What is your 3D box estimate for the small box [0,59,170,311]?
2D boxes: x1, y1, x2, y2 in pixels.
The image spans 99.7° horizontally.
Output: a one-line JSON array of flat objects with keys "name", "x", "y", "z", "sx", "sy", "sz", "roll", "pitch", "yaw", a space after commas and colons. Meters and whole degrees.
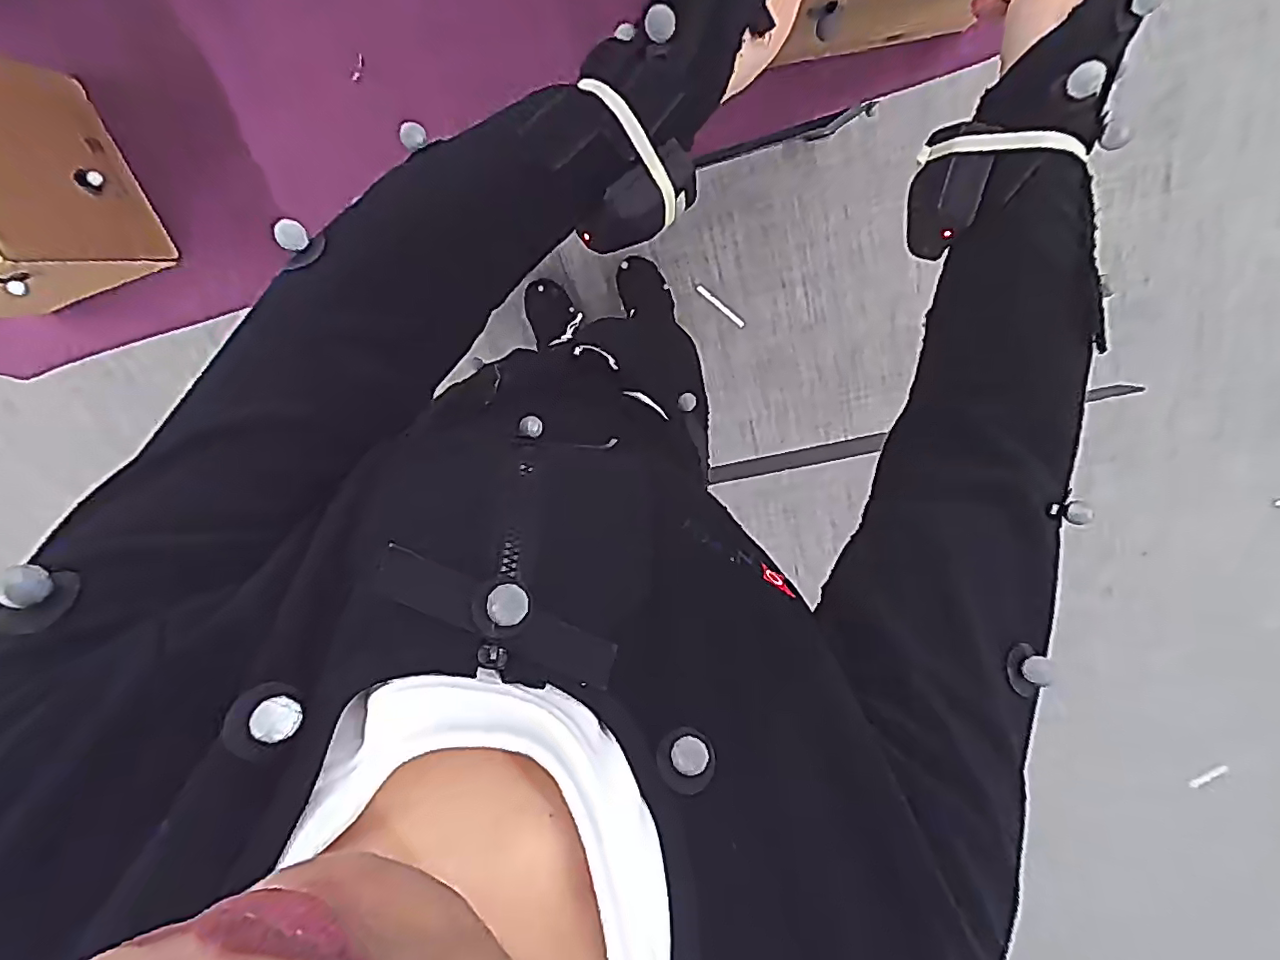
[{"name": "small box", "x": -0.584, "y": -0.248, "z": 0.469, "sx": 0.179, "sy": 0.176, "sz": 0.168, "roll": -16, "pitch": 111, "yaw": 7}]
